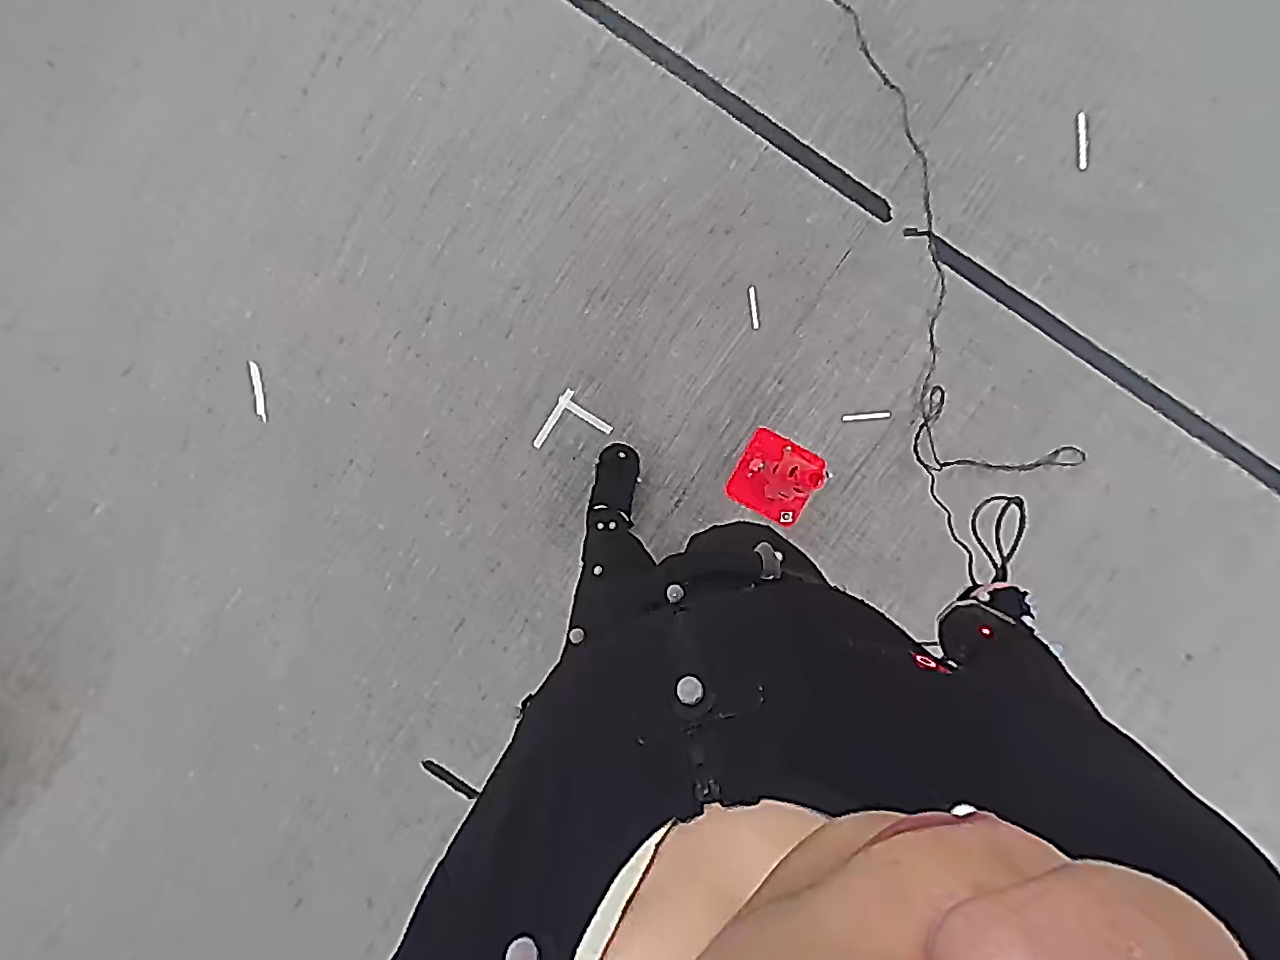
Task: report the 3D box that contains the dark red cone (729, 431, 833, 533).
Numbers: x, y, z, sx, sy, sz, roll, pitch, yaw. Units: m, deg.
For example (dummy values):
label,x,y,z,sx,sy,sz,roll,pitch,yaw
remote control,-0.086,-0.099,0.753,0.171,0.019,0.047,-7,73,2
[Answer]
label,x,y,z,sx,sy,sz,roll,pitch,yaw
dark red cone,0.334,0.002,1.156,0.202,0.394,0.201,27,90,2
